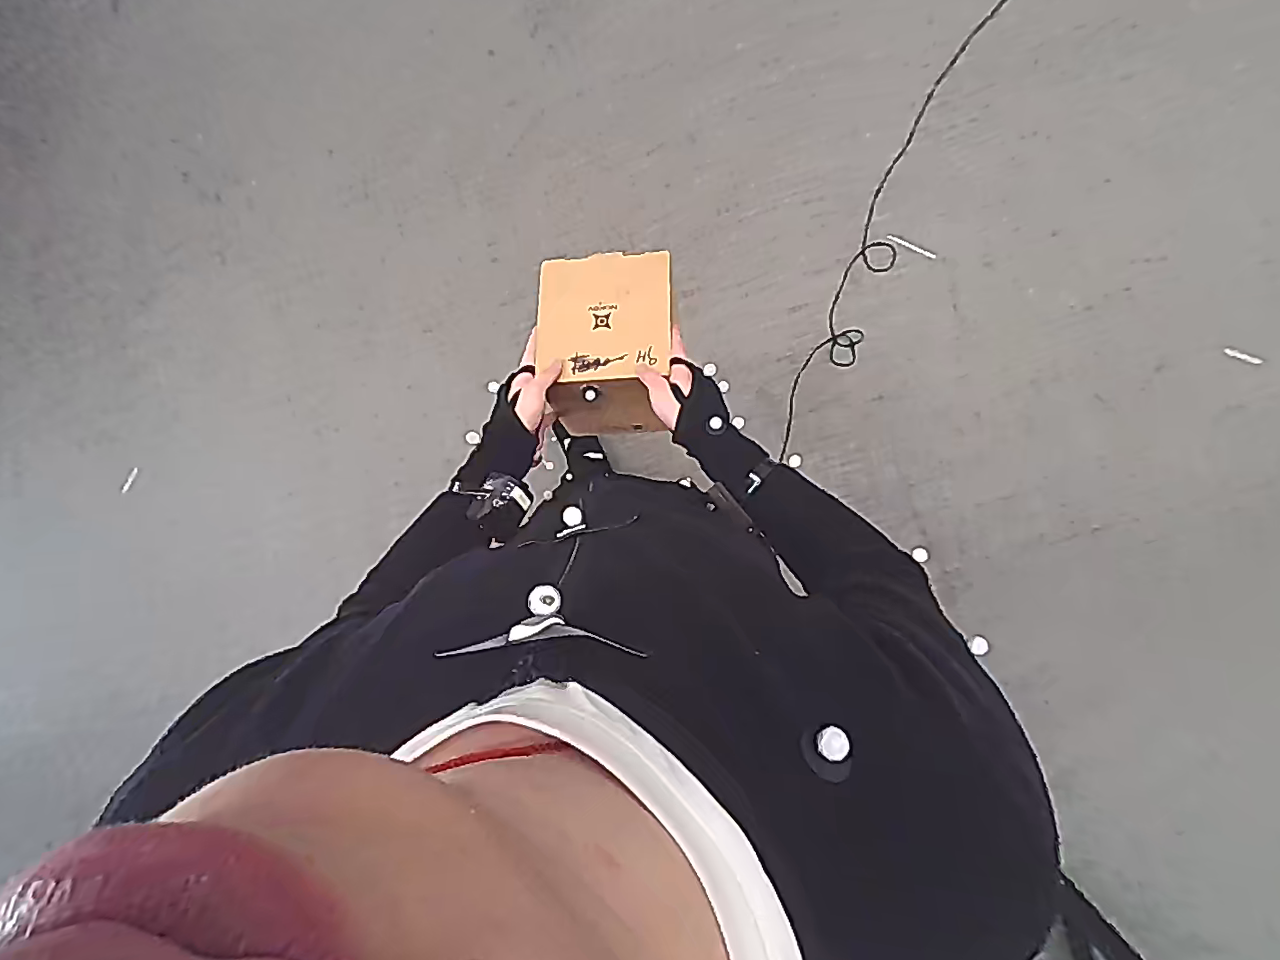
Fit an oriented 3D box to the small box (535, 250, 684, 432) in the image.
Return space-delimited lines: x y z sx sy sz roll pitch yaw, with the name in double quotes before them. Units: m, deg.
"small box" -0.030 -0.178 0.729 0.168 0.176 0.179 -1 73 9
